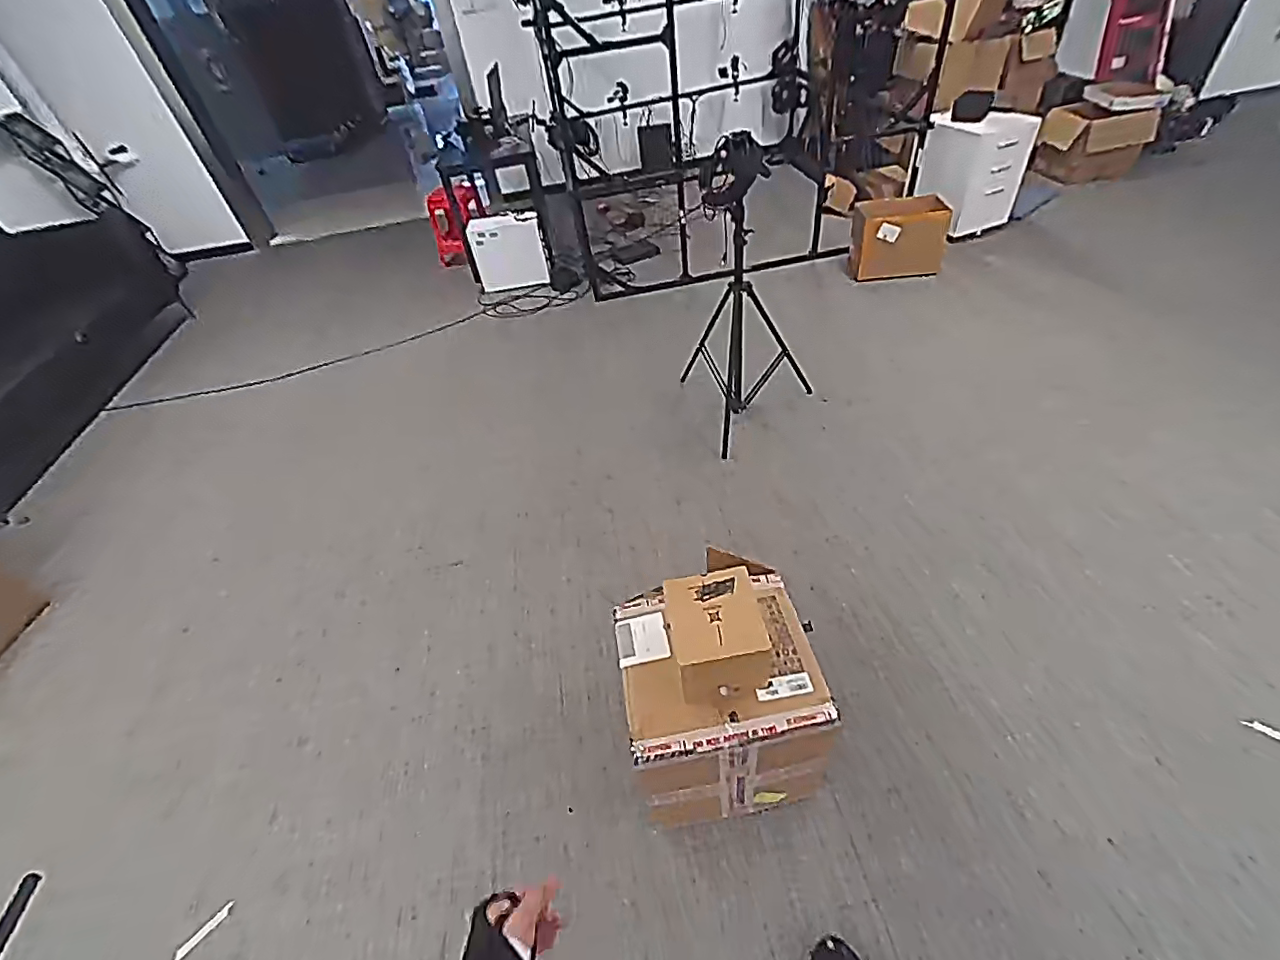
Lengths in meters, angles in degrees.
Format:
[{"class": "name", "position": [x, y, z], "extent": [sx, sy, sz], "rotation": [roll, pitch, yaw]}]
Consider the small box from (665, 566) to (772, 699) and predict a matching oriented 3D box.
[{"class": "small box", "position": [0.143, 0.295, 1.039], "extent": [0.168, 0.176, 0.179], "rotation": [-10, 47, -1]}]
